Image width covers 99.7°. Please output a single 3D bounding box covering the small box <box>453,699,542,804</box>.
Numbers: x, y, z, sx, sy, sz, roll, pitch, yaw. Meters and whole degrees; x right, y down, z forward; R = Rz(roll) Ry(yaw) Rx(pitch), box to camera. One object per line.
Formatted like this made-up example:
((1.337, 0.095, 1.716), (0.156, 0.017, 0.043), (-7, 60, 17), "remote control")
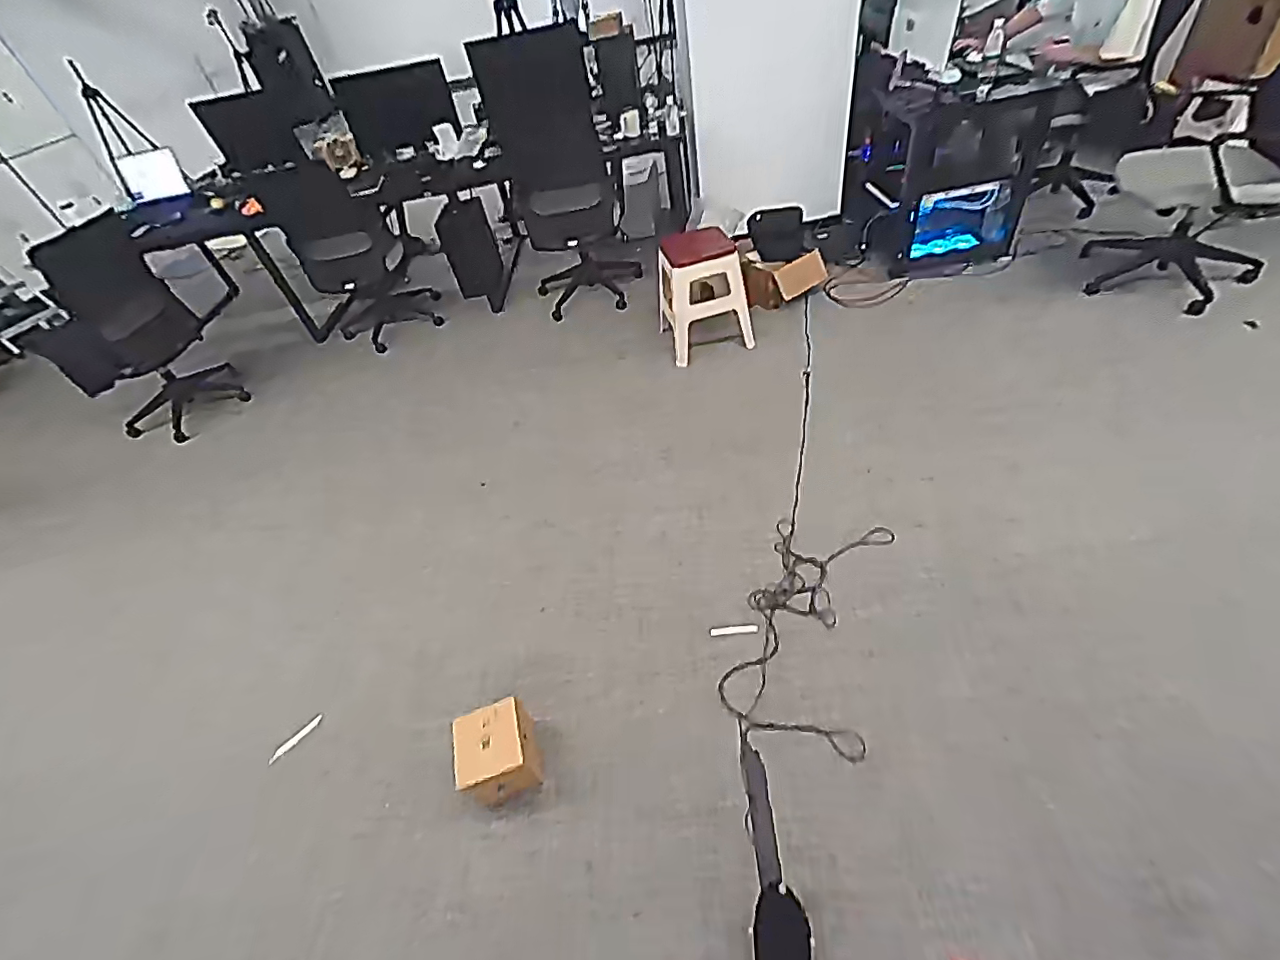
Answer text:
((-0.360, 0.698, 1.377), (0.168, 0.176, 0.179), (-19, 45, -5), "small box")
